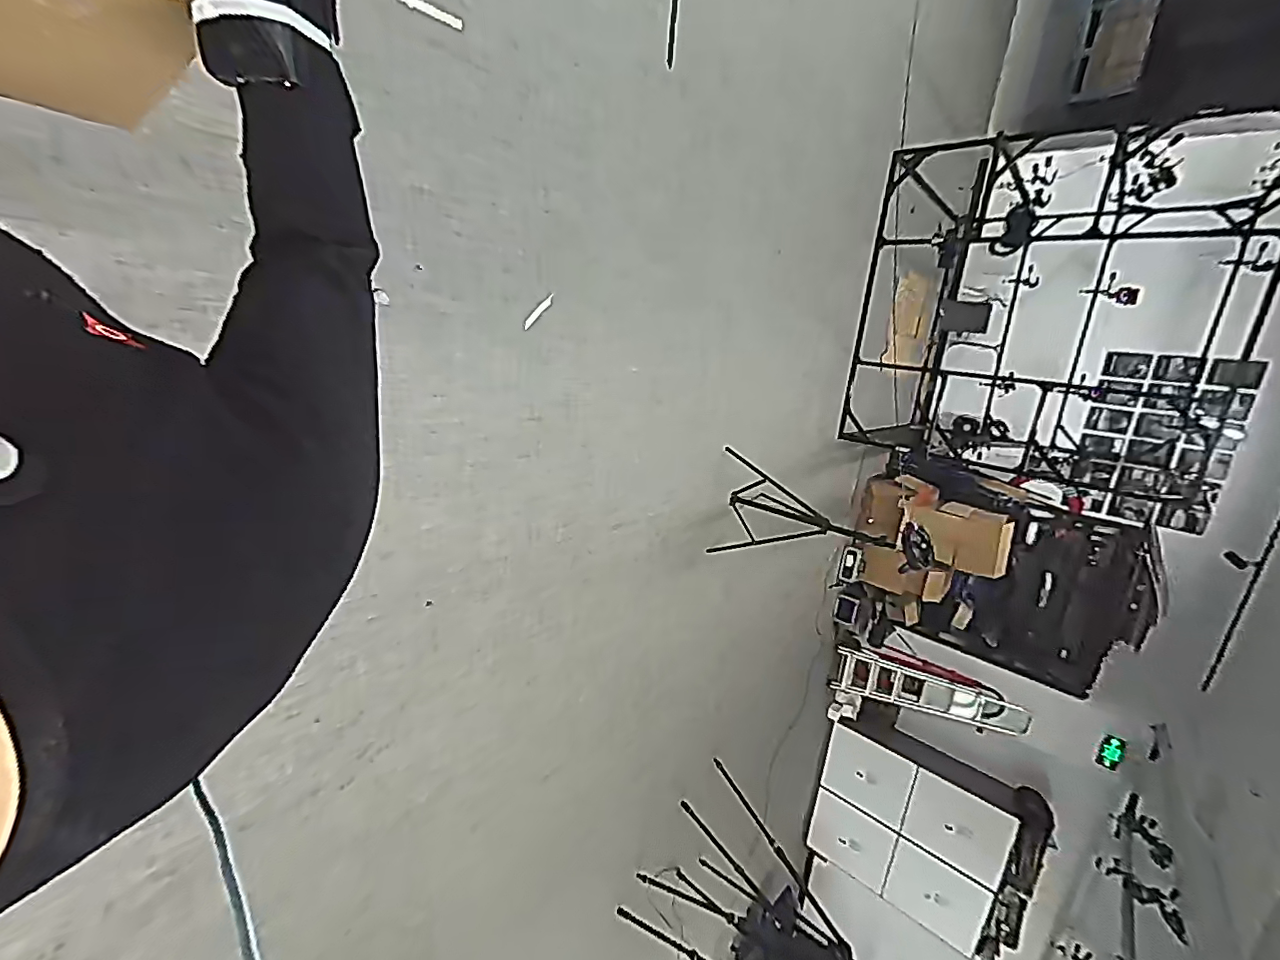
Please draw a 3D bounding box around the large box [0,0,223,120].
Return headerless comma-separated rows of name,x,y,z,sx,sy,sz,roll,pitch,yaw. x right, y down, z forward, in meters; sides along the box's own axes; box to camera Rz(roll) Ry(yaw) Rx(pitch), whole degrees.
large box,-0.523,-0.464,0.282,0.408,0.320,0.320,-12,108,-50
